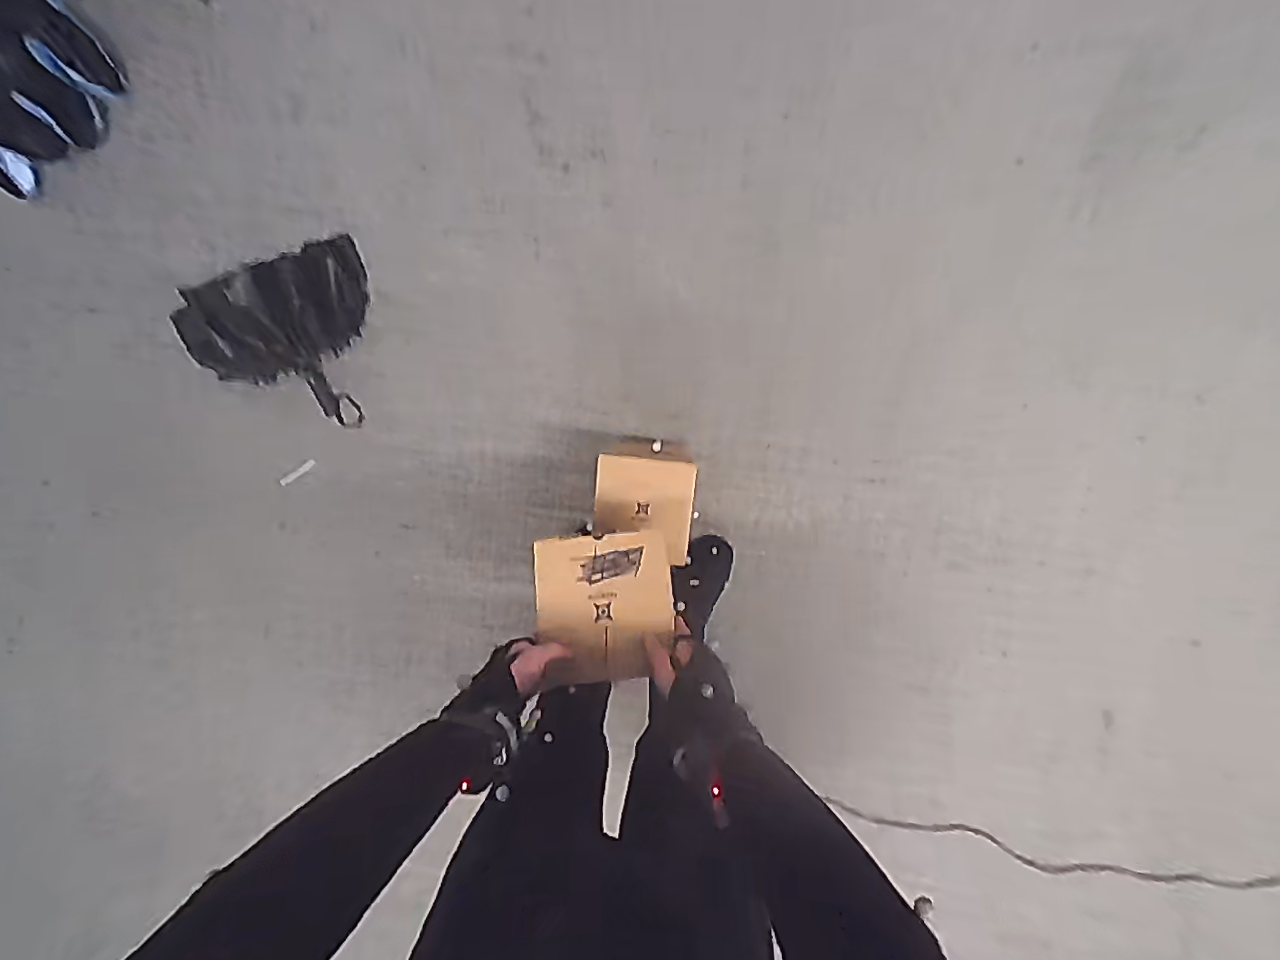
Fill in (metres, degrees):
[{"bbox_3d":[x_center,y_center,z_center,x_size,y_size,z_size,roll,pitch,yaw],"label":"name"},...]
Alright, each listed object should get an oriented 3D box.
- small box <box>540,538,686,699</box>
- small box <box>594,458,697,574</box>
[{"bbox_3d":[-0.032,0.187,0.727,0.168,0.176,0.179,-8,74,2],"label":"small box"},{"bbox_3d":[0.010,0.058,0.990,0.168,0.176,0.179,5,96,1],"label":"small box"}]
